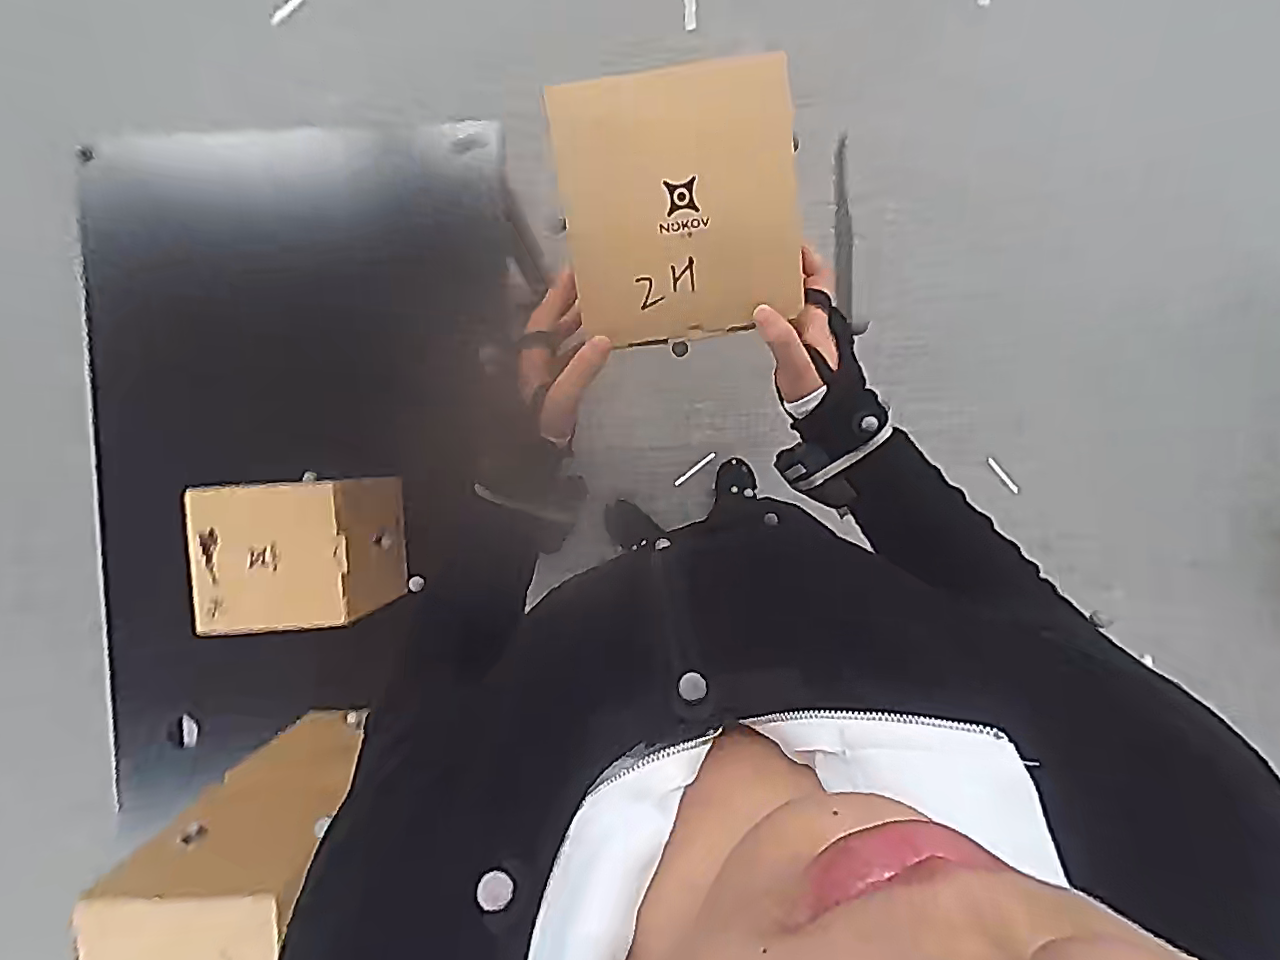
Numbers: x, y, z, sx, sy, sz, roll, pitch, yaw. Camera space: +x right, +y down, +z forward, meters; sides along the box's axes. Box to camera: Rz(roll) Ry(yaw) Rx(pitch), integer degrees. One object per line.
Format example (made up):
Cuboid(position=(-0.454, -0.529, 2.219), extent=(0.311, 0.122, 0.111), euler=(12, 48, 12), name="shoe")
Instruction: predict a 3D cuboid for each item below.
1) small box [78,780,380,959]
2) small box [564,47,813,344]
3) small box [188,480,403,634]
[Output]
Cuboid(position=(-0.388, 0.429, 0.541), extent=(0.179, 0.176, 0.168), euler=(-2, 93, -1), name="small box")
Cuboid(position=(0.034, -0.215, 0.458), extent=(0.168, 0.176, 0.179), euler=(-8, 104, 0), name="small box")
Cuboid(position=(-0.423, 0.088, 0.698), extent=(0.179, 0.176, 0.168), euler=(-4, 92, 0), name="small box")
